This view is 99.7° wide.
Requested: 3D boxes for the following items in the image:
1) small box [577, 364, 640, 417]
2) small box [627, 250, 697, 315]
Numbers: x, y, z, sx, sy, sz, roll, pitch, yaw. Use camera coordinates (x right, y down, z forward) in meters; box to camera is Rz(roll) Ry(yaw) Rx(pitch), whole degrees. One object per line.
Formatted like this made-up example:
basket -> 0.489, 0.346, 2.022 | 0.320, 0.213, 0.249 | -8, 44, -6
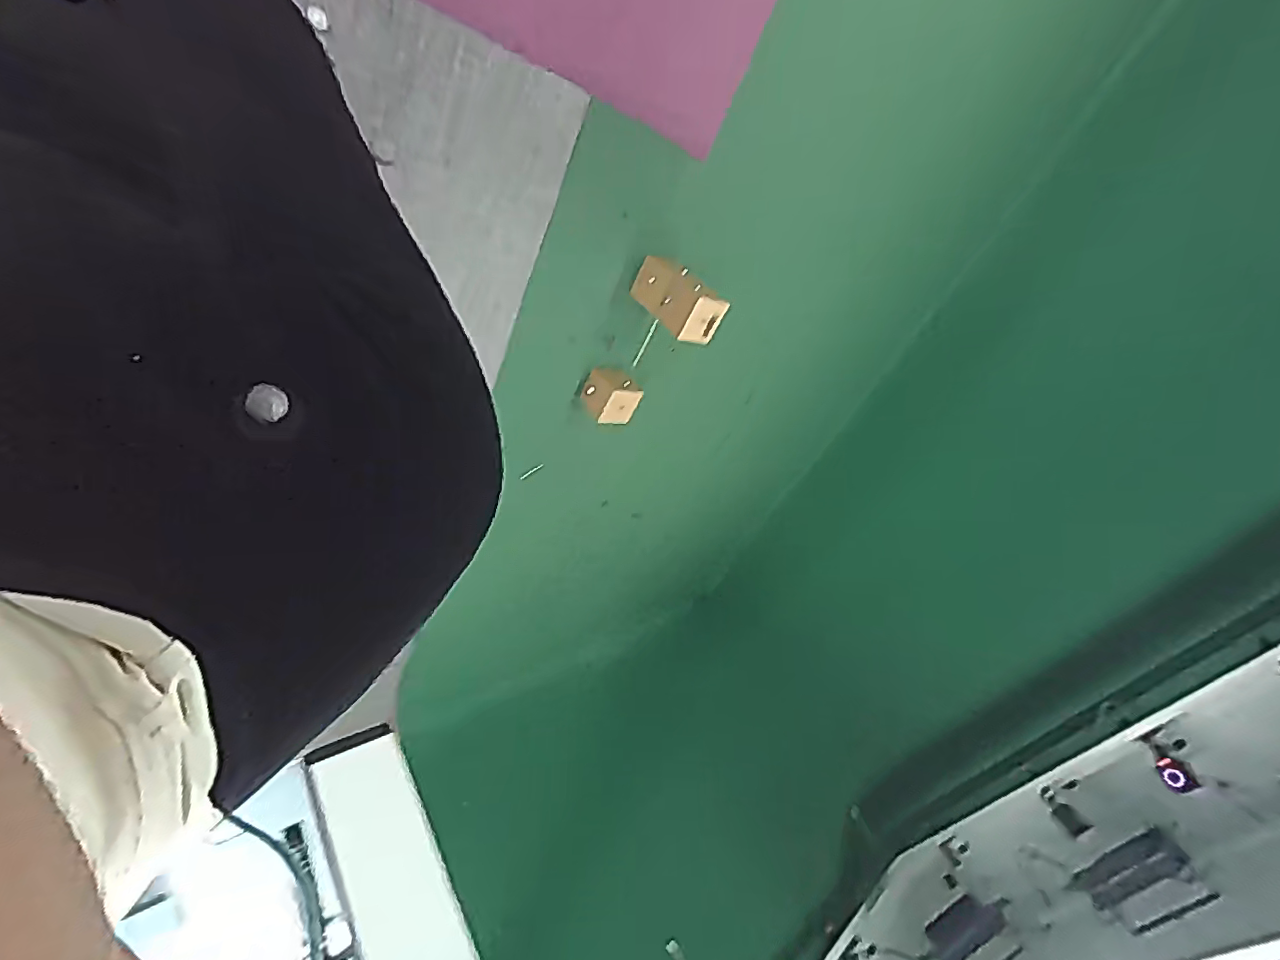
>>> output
small box -> -0.138, -0.389, 2.342 | 0.179, 0.176, 0.168 | -6, 136, -45
small box -> 0.078, -0.765, 2.088 | 0.179, 0.176, 0.168 | -8, 137, -45
